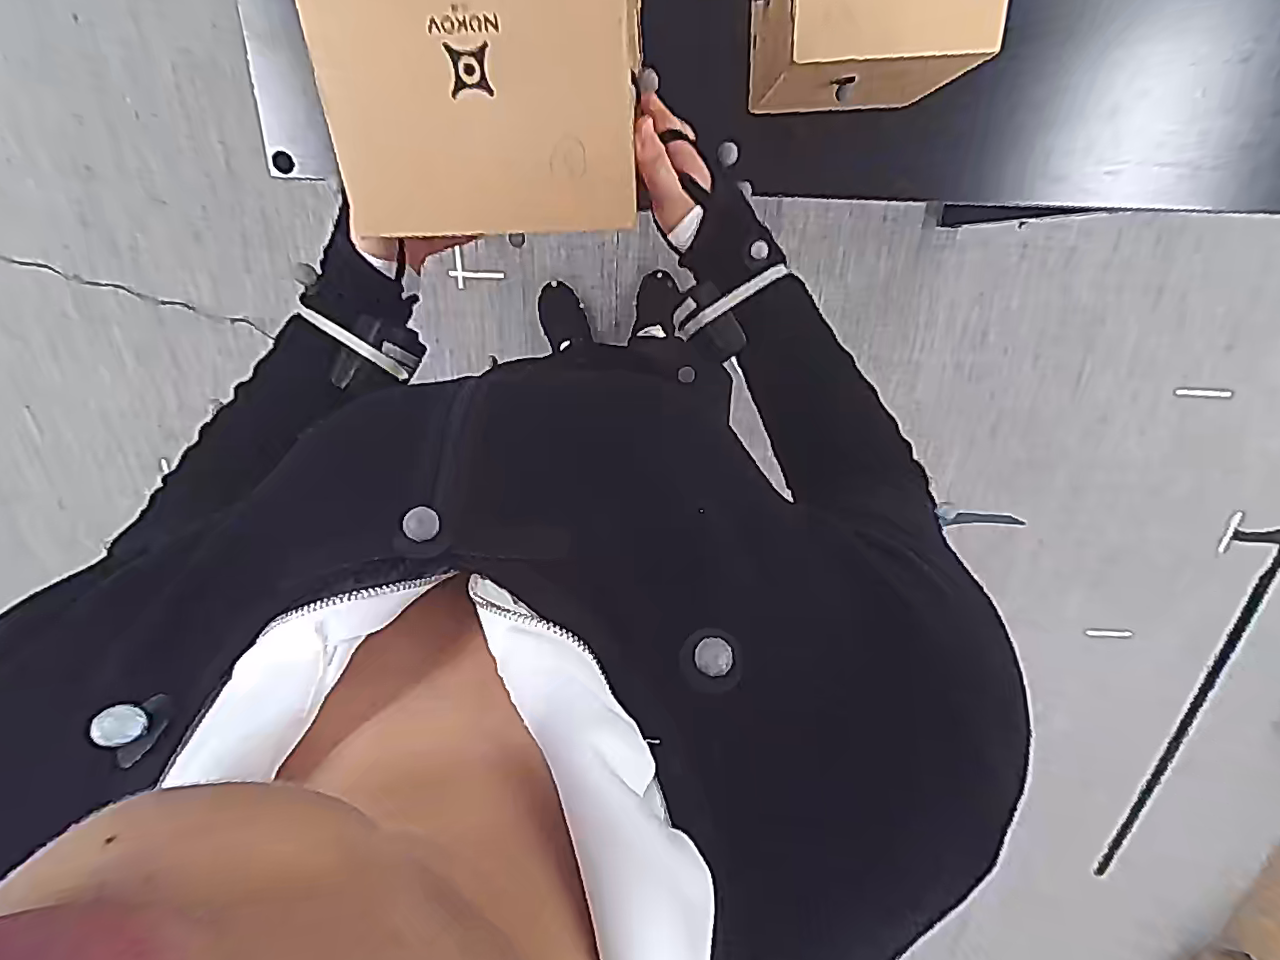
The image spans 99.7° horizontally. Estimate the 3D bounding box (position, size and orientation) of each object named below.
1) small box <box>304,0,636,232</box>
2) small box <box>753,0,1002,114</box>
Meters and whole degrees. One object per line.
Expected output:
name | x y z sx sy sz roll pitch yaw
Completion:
small box | -0.086 -0.265 0.350 0.168 0.176 0.179 -2 119 0
small box | 0.204 -0.455 0.496 0.179 0.176 0.168 -2 112 1
